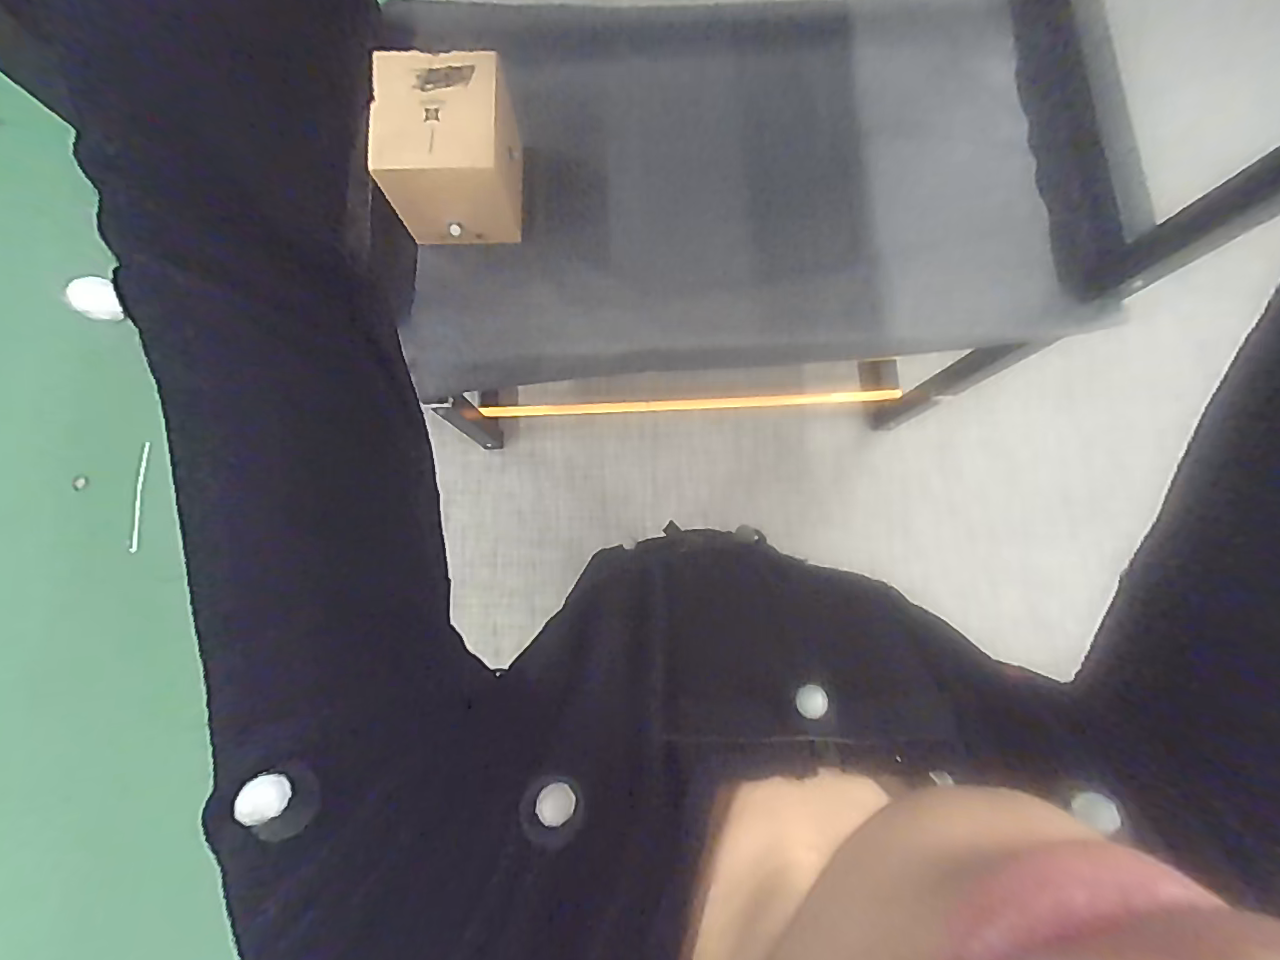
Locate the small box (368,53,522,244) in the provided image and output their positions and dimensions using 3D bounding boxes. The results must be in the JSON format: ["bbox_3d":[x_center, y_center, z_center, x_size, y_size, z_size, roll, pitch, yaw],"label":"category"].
[{"bbox_3d":[-0.271,-0.471,0.787,0.168,0.176,0.179,-2,81,-1],"label":"small box"}]
